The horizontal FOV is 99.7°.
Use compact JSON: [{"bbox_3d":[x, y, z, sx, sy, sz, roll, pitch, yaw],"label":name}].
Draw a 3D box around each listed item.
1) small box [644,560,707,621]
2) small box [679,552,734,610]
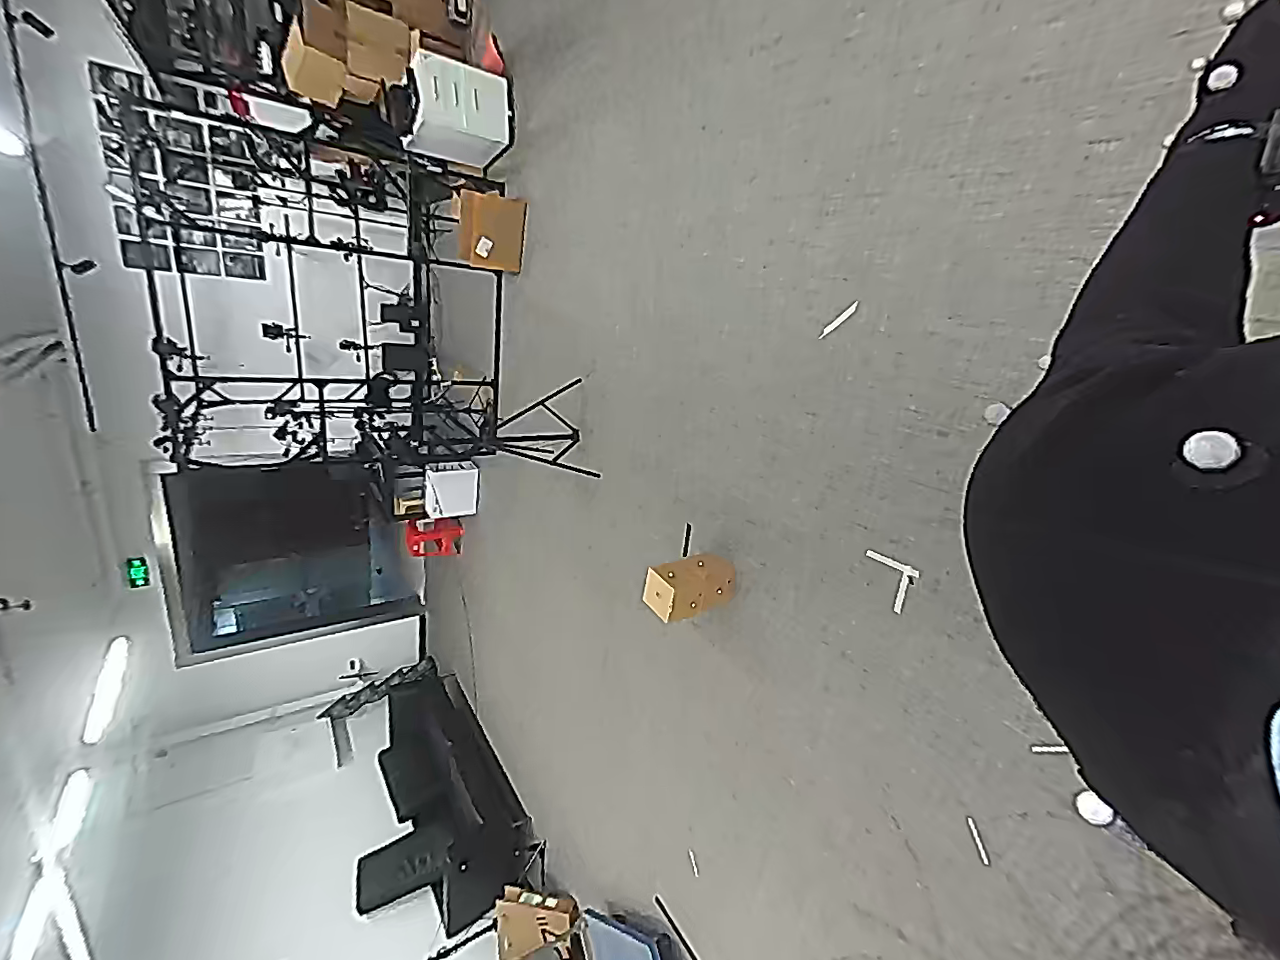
[{"bbox_3d":[0.141,0.440,2.182,0.179,0.176,0.168,36,124,47],"label":"small box"},{"bbox_3d":[0.273,0.417,2.275,0.179,0.176,0.168,28,117,51],"label":"small box"}]
